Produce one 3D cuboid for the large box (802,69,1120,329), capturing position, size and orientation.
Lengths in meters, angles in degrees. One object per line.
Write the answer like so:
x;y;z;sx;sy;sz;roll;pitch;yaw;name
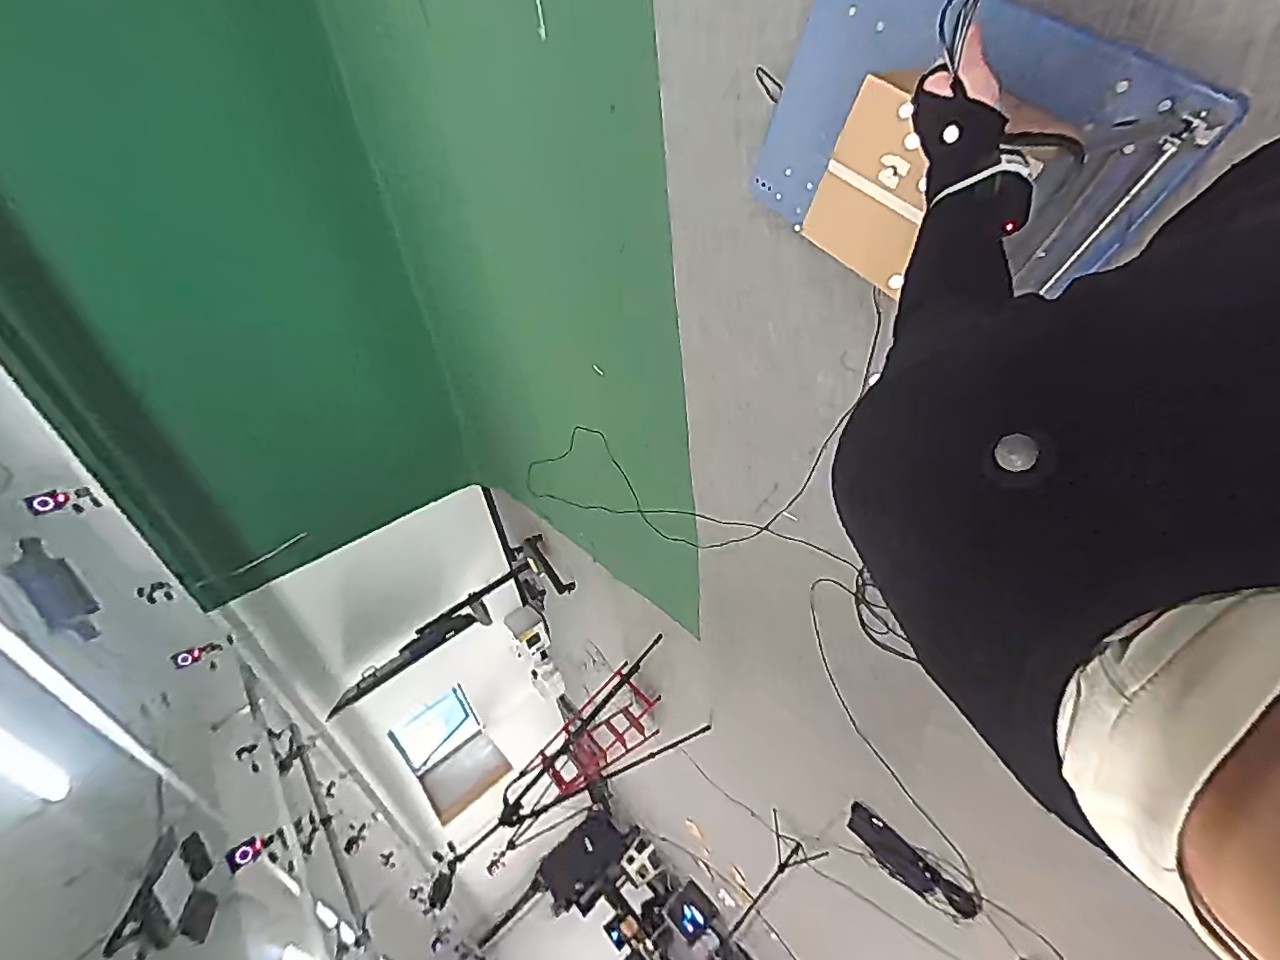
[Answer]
0.633;-0.587;1.118;0.408;0.320;0.320;47;147;21;large box
